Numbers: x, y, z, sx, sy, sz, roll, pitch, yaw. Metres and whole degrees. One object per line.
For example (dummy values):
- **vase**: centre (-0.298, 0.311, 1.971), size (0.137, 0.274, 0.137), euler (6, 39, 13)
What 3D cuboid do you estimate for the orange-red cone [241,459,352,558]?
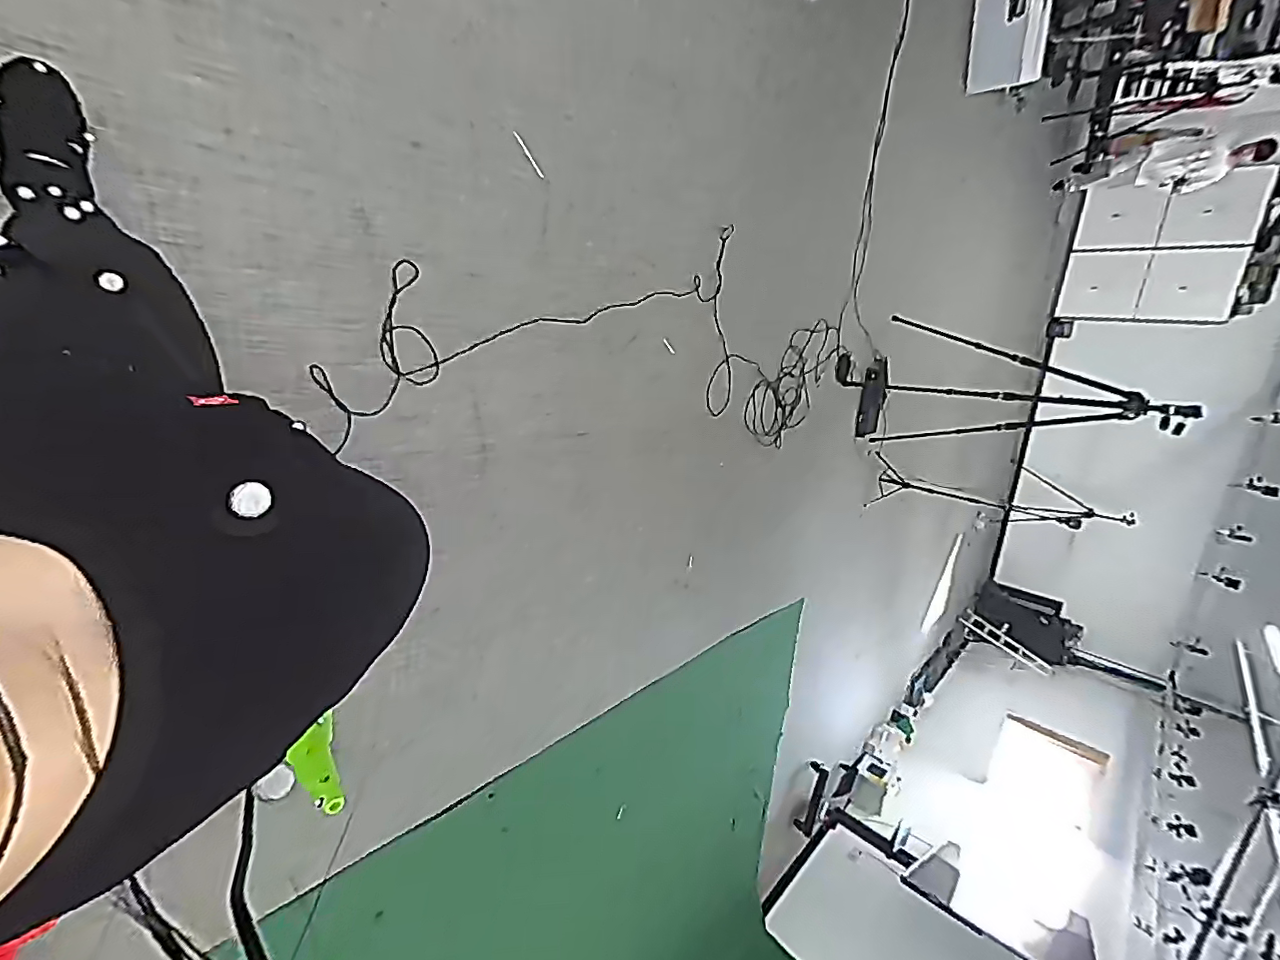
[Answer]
- **orange-red cone**: centre (-0.758, 0.106, 1.272), size (0.198, 0.360, 0.199), euler (-32, 127, -35)
